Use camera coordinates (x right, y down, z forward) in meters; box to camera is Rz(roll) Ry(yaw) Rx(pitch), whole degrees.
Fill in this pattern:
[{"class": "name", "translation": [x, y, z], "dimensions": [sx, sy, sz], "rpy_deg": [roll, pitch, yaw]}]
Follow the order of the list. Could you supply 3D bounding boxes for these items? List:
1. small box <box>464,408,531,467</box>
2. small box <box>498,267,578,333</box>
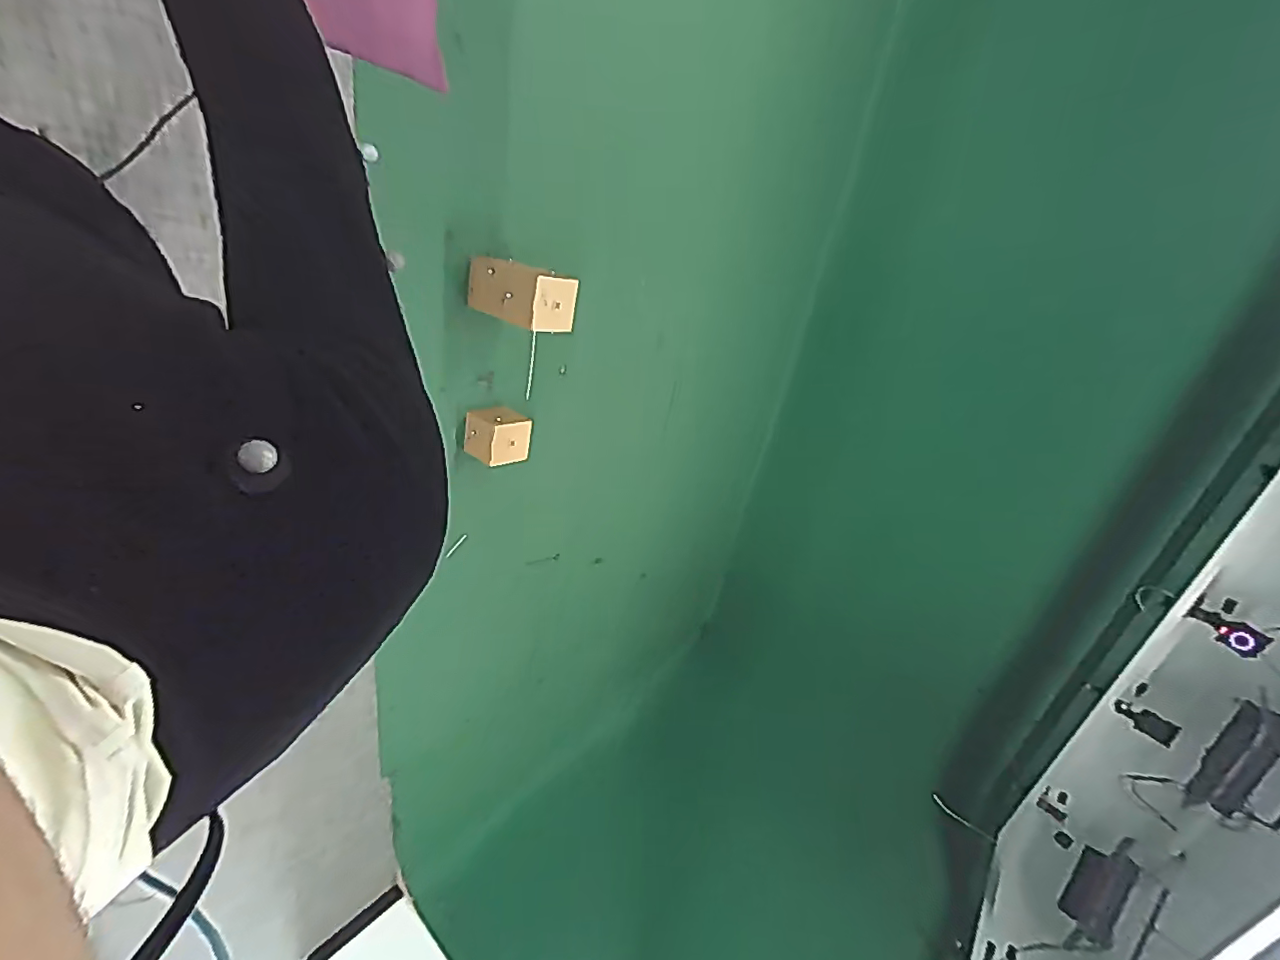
[{"class": "small box", "translation": [-0.542, -0.168, 2.057], "dimensions": [0.179, 0.176, 0.168], "rpy_deg": [-17, 128, -48]}, {"class": "small box", "translation": [-0.327, -0.577, 1.731], "dimensions": [0.179, 0.176, 0.168], "rpy_deg": [-17, 127, -49]}]
